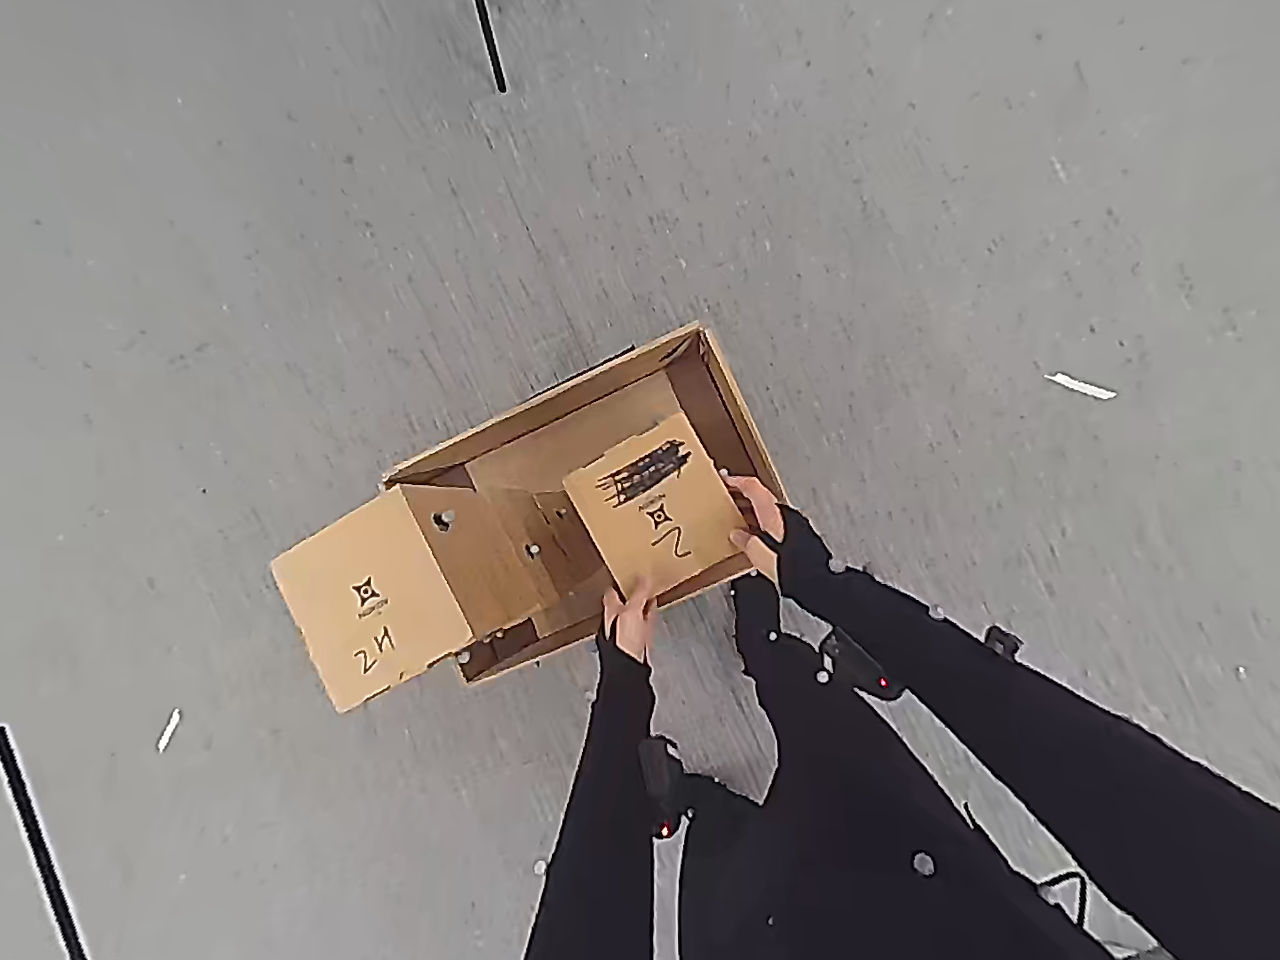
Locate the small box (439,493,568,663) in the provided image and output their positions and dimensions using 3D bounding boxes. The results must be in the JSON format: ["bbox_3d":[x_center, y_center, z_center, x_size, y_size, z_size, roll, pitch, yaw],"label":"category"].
[{"bbox_3d":[-0.224,0.128,0.776,0.168,0.176,0.179,-28,85,5],"label":"small box"}]

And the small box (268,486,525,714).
[{"bbox_3d":[-0.259,0.123,0.614,0.168,0.176,0.179,-30,84,6],"label":"small box"}]
